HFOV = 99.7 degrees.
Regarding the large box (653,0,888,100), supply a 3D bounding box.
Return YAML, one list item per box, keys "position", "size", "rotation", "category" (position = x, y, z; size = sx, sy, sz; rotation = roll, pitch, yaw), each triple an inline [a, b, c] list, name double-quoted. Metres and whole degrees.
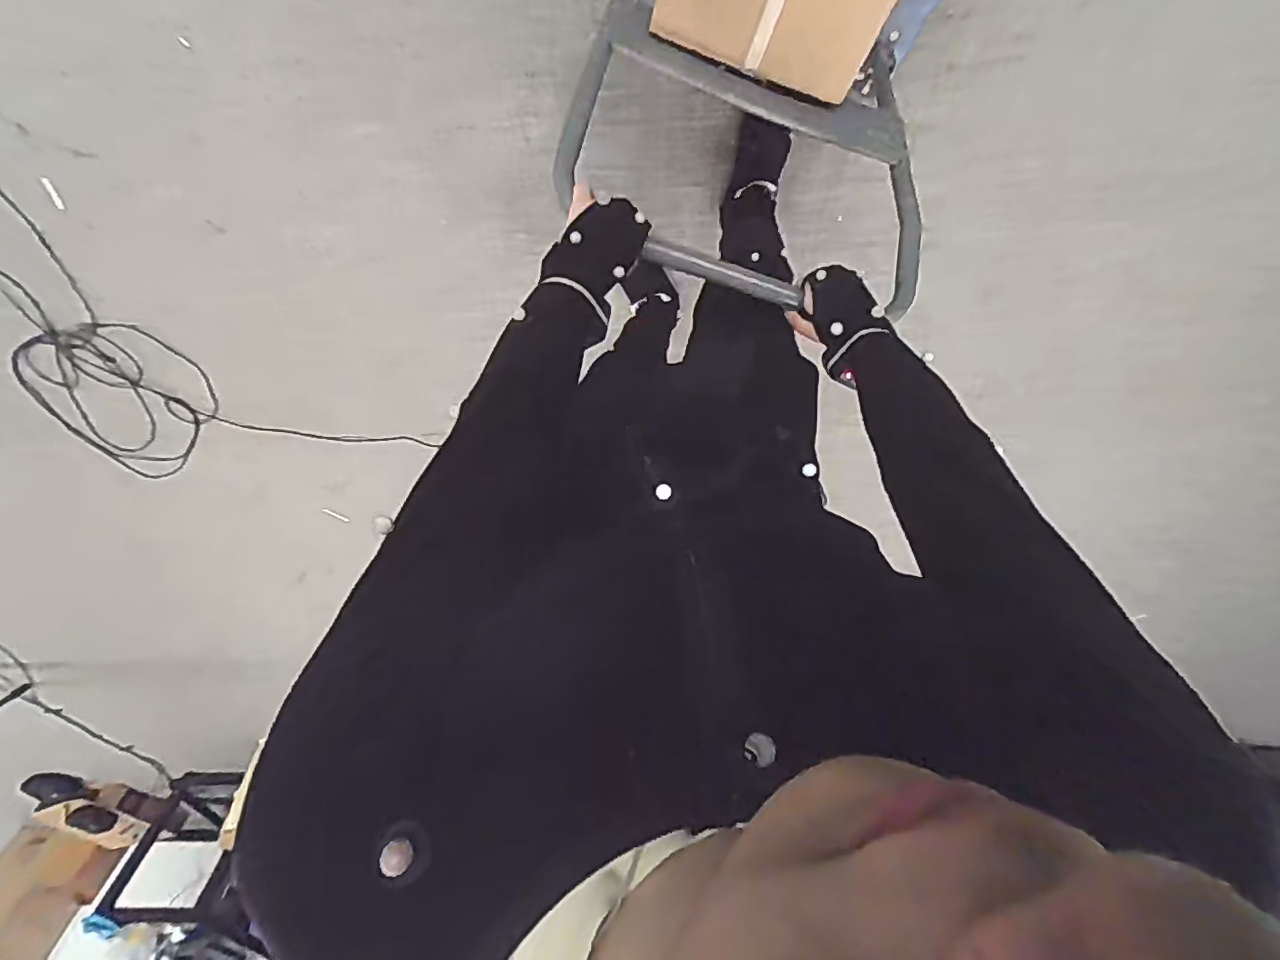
- position: [0.233, -0.855, 0.753]
  size: [0.320, 0.320, 0.408]
  rotation: [15, 144, -9]
  category: "large box"
